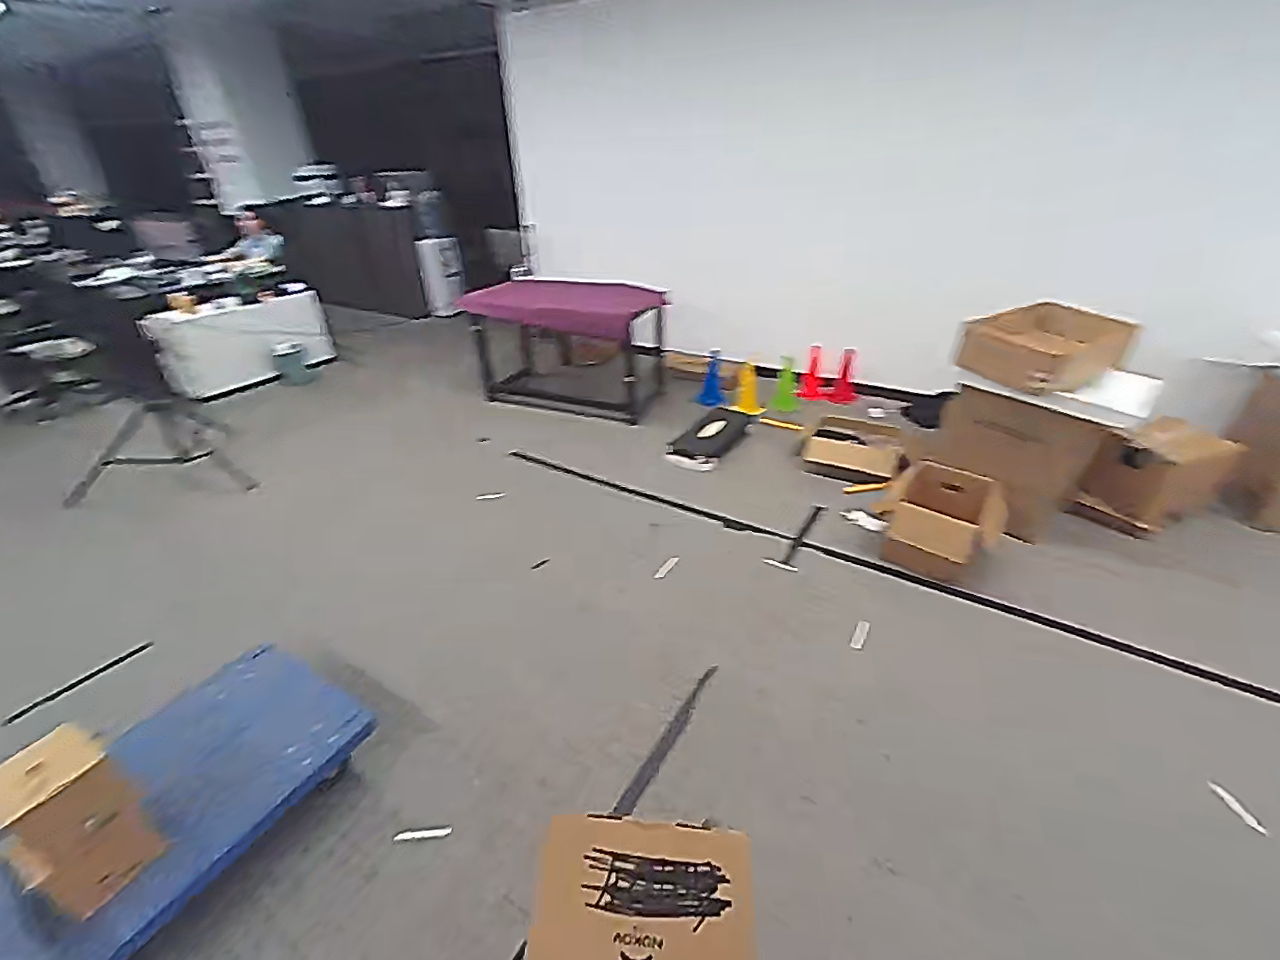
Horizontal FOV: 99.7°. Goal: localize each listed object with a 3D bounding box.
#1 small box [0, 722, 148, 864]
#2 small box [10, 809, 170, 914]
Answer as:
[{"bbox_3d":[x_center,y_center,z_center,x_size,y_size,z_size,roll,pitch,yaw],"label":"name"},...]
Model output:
[{"bbox_3d":[-1.199,0.655,1.133,0.179,0.176,0.168,15,35,24],"label":"small box"},{"bbox_3d":[-1.209,0.808,1.199,0.179,0.176,0.168,15,35,24],"label":"small box"}]
